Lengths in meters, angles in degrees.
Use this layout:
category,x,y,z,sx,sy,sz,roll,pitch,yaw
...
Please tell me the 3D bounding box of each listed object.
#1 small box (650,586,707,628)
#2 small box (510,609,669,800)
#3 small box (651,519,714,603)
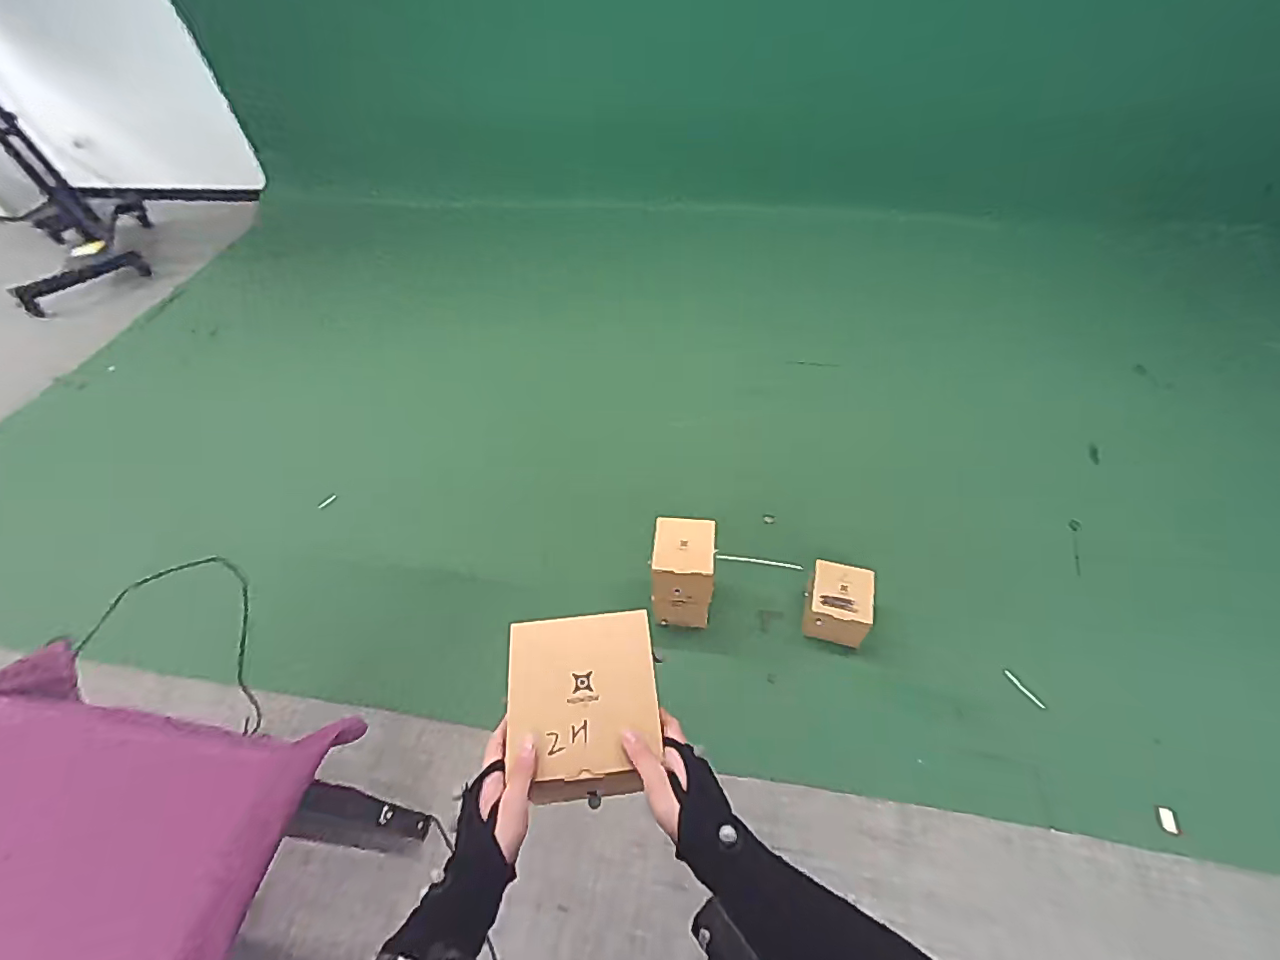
category,x,y,z,sx,sy,sz,roll,pitch,yaw
small box,0.125,0.340,1.672,0.168,0.176,0.179,4,51,7
small box,-0.057,0.277,0.663,0.168,0.176,0.179,-4,54,-2
small box,0.121,0.233,1.550,0.168,0.176,0.179,4,52,6
